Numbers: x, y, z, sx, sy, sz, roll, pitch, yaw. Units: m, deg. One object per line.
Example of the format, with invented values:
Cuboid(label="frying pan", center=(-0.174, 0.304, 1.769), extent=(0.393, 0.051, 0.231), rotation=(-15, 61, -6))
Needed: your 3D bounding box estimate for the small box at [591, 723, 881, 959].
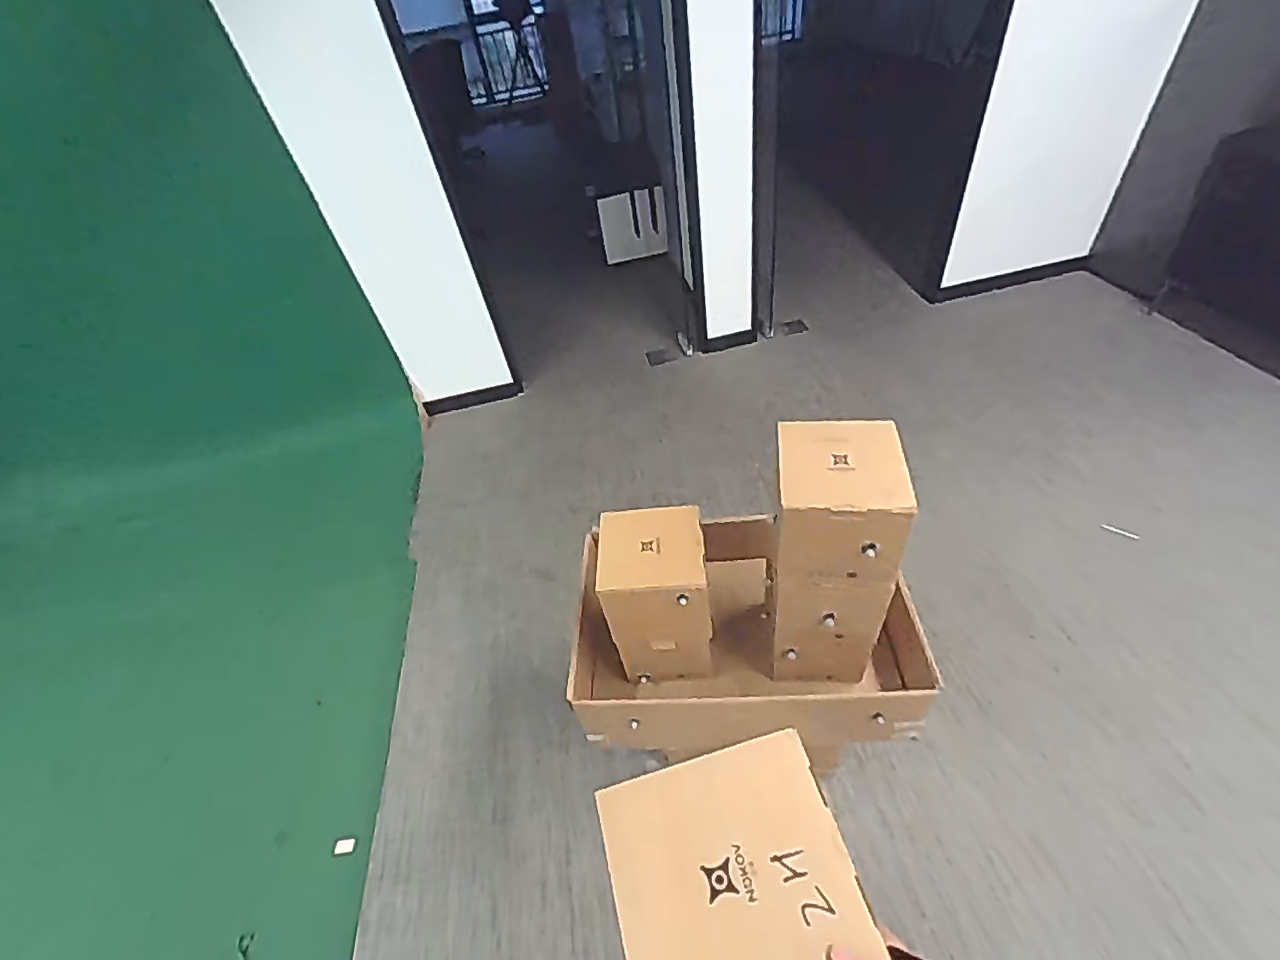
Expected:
Cuboid(label="small box", center=(0.073, 0.335, 0.465), extent=(0.179, 0.176, 0.168), rotation=(-17, 54, -2))

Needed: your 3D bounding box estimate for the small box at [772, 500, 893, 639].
Cuboid(label="small box", center=(0.309, 0.148, 0.902), extent=(0.168, 0.176, 0.179), rotation=(0, 46, 12))

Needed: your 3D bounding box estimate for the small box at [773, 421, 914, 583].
Cuboid(label="small box", center=(0.283, 0.034, 0.788), extent=(0.168, 0.176, 0.179), rotation=(1, 45, 12))

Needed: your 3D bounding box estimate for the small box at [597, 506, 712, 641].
Cuboid(label="small box", center=(0.030, 0.167, 0.947), extent=(0.179, 0.176, 0.168), rotation=(-5, 45, 6))
